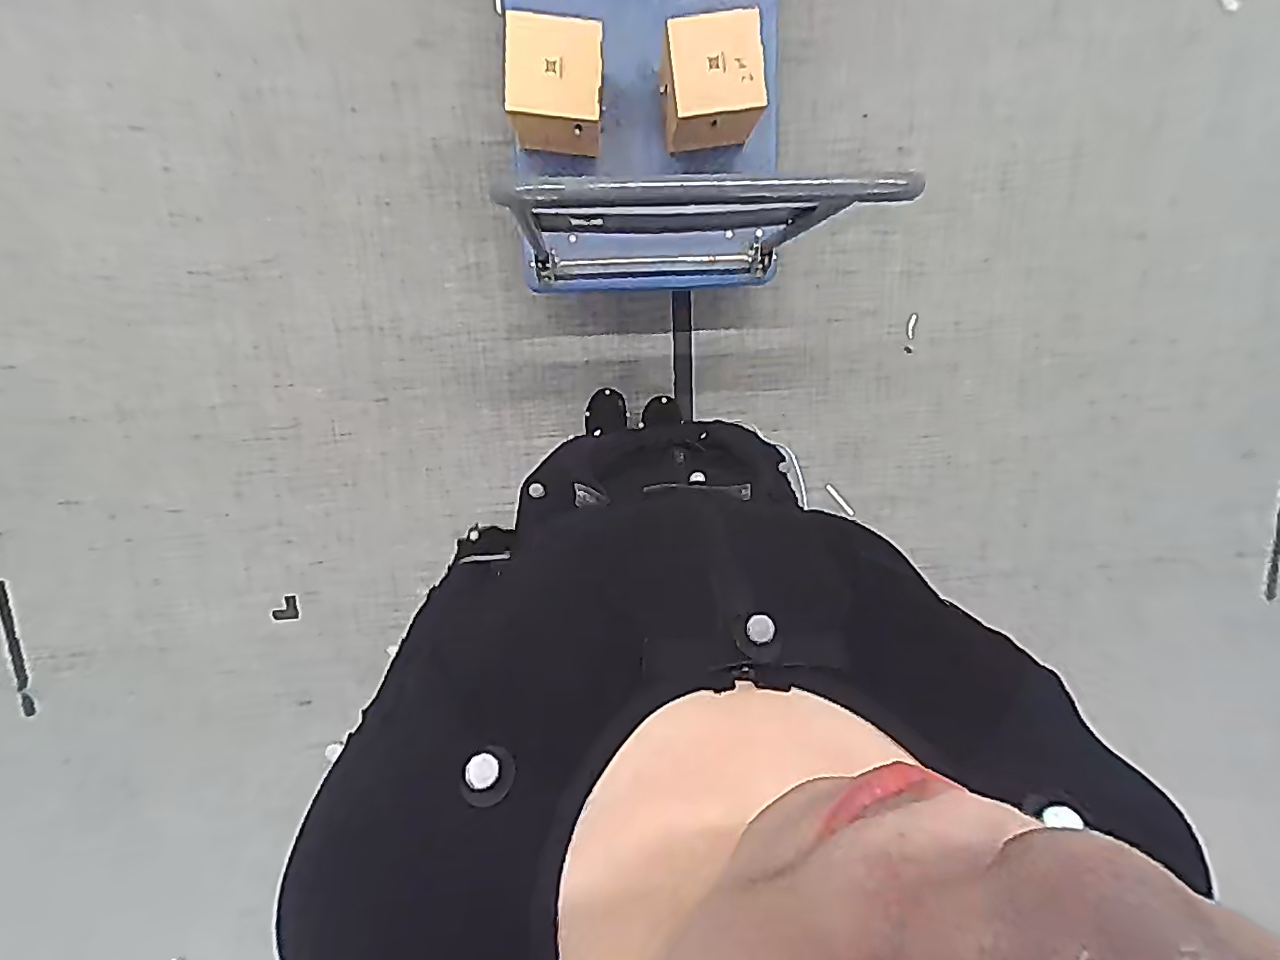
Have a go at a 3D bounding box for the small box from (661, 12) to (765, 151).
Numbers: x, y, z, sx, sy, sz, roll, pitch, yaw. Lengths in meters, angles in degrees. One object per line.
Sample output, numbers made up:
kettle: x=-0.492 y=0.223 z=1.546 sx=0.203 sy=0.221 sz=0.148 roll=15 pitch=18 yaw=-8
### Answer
small box: x=0.138 y=-0.791 z=1.092 sx=0.179 sy=0.176 sz=0.168 roll=-9 pitch=102 yaw=-2

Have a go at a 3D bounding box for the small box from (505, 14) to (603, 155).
small box: x=-0.165 y=-0.771 z=1.074 sx=0.179 sy=0.176 sz=0.168 roll=2 pitch=101 yaw=-6
